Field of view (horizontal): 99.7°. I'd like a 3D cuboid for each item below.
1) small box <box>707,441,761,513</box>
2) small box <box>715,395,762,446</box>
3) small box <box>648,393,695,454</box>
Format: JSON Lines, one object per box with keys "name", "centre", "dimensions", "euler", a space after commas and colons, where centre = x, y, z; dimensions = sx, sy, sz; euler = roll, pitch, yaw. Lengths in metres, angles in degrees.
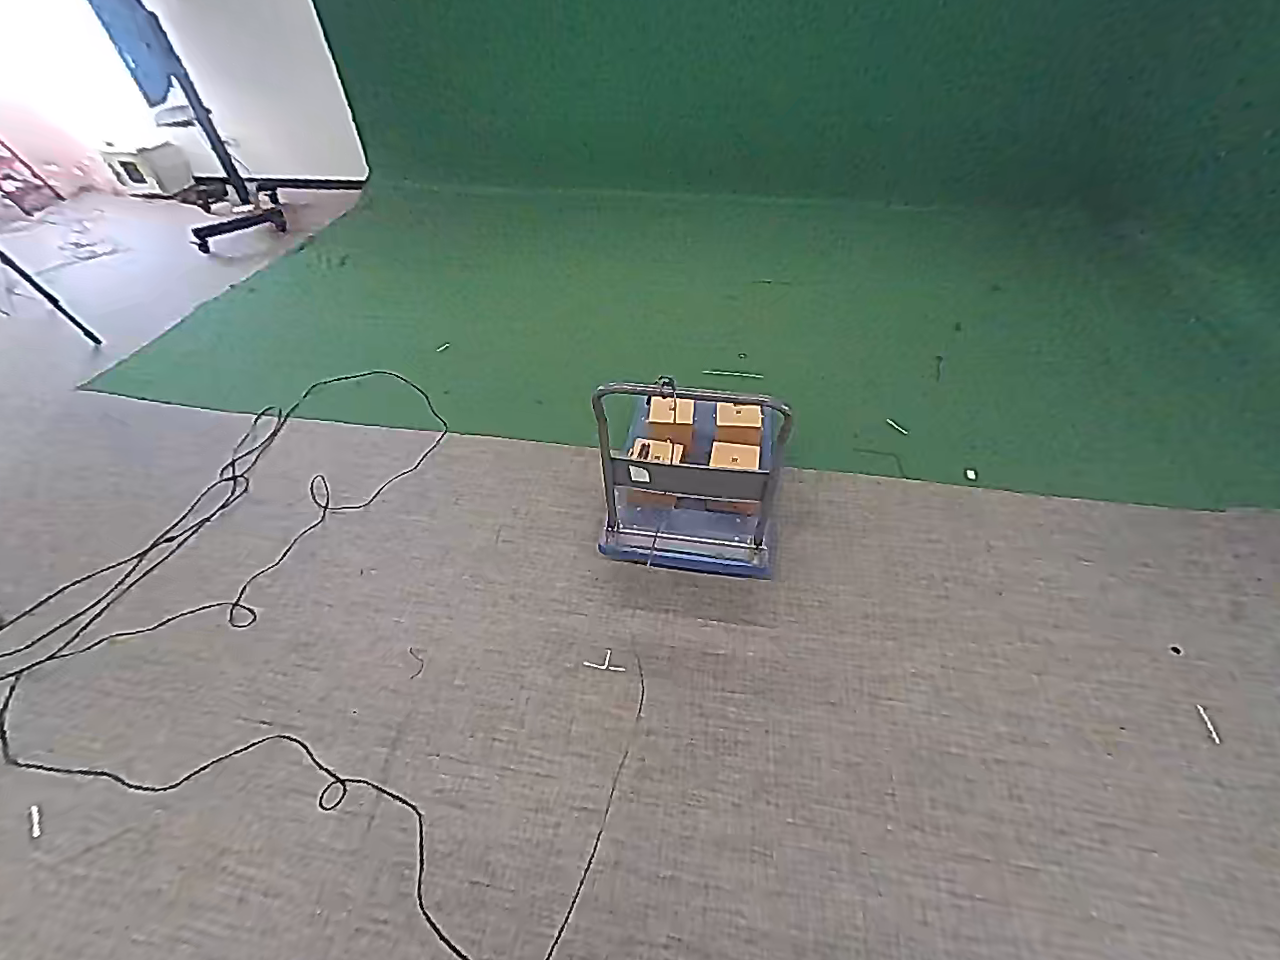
{"name": "small box", "centre": [0.326, -0.010, 1.897], "dimensions": [0.168, 0.176, 0.179], "euler": [7, 48, 9]}
{"name": "small box", "centre": [0.375, -0.204, 2.078], "dimensions": [0.168, 0.176, 0.179], "euler": [3, 48, 6]}
{"name": "small box", "centre": [0.125, -0.217, 2.104], "dimensions": [0.168, 0.176, 0.179], "euler": [4, 47, 5]}
